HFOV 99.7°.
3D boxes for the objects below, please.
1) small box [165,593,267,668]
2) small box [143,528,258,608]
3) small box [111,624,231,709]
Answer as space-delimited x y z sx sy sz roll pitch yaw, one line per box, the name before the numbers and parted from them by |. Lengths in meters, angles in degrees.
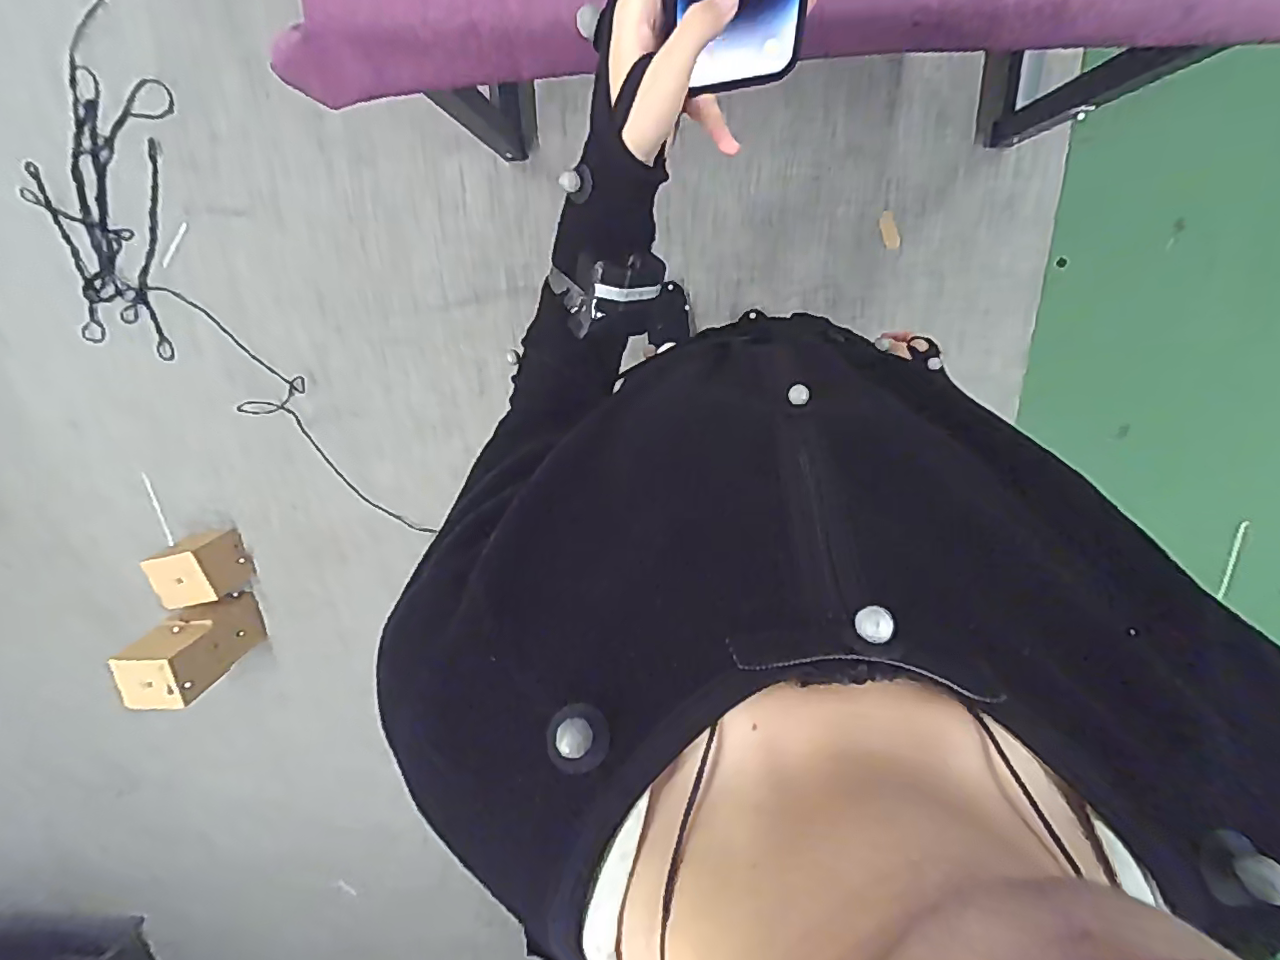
small box | -1.327 0.469 1.706 0.168 0.176 0.179 -1 109 5
small box | -1.318 0.261 1.635 0.179 0.176 0.168 -11 109 7
small box | -1.337 0.528 1.553 0.179 0.176 0.168 0 109 5
